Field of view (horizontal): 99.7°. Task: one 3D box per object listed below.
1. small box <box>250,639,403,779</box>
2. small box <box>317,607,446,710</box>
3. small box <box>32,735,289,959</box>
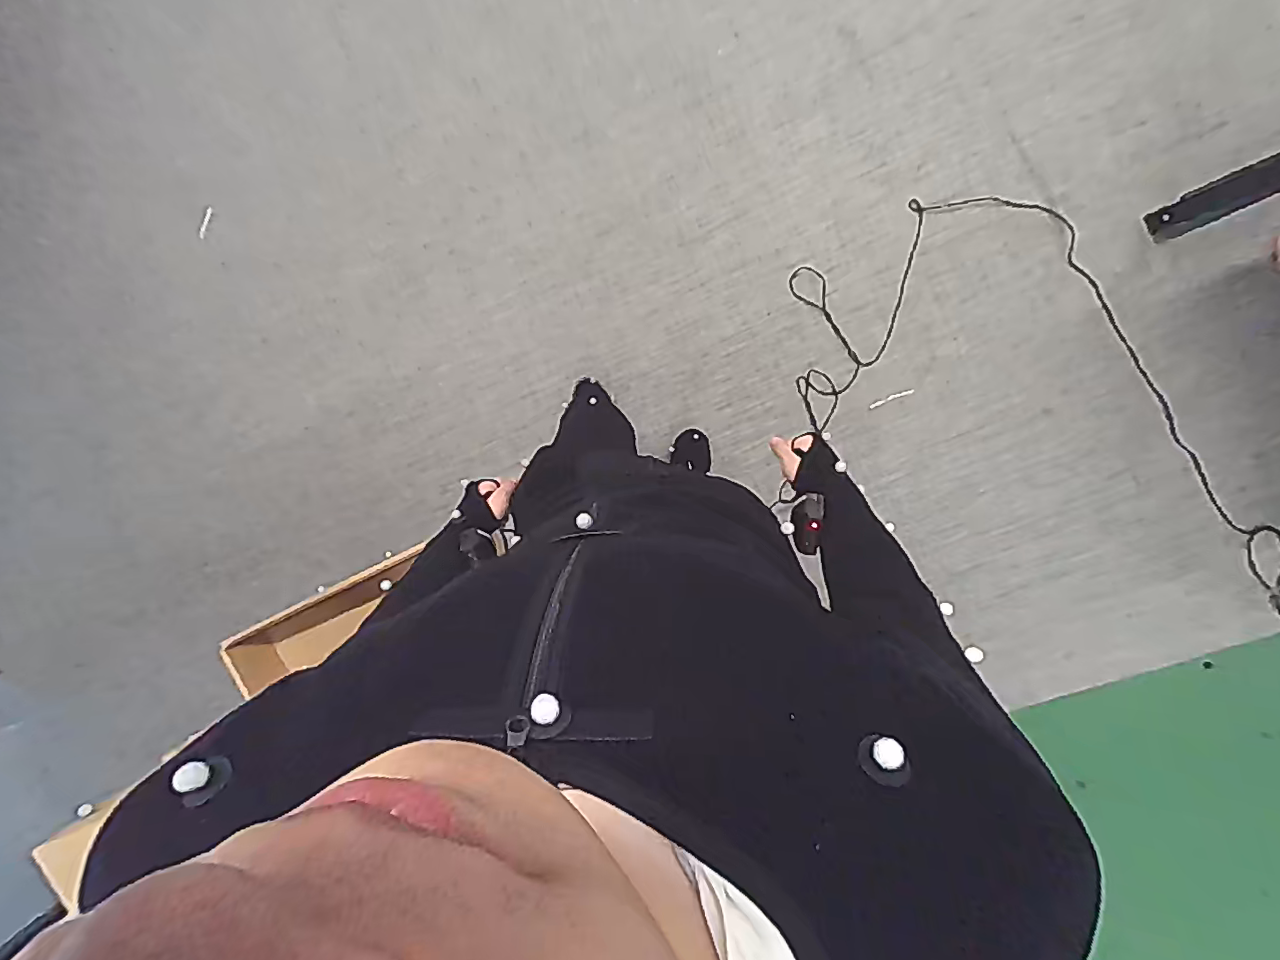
[{"bbox_3d":[-0.603,0.441,1.069,0.179,0.176,0.168,-25,93,11],"label":"small box"},{"bbox_3d":[-0.576,0.419,1.230,0.168,0.176,0.179,-26,93,10],"label":"small box"},{"bbox_3d":[-0.643,0.494,0.747,0.179,0.176,0.168,-27,94,10],"label":"small box"}]
